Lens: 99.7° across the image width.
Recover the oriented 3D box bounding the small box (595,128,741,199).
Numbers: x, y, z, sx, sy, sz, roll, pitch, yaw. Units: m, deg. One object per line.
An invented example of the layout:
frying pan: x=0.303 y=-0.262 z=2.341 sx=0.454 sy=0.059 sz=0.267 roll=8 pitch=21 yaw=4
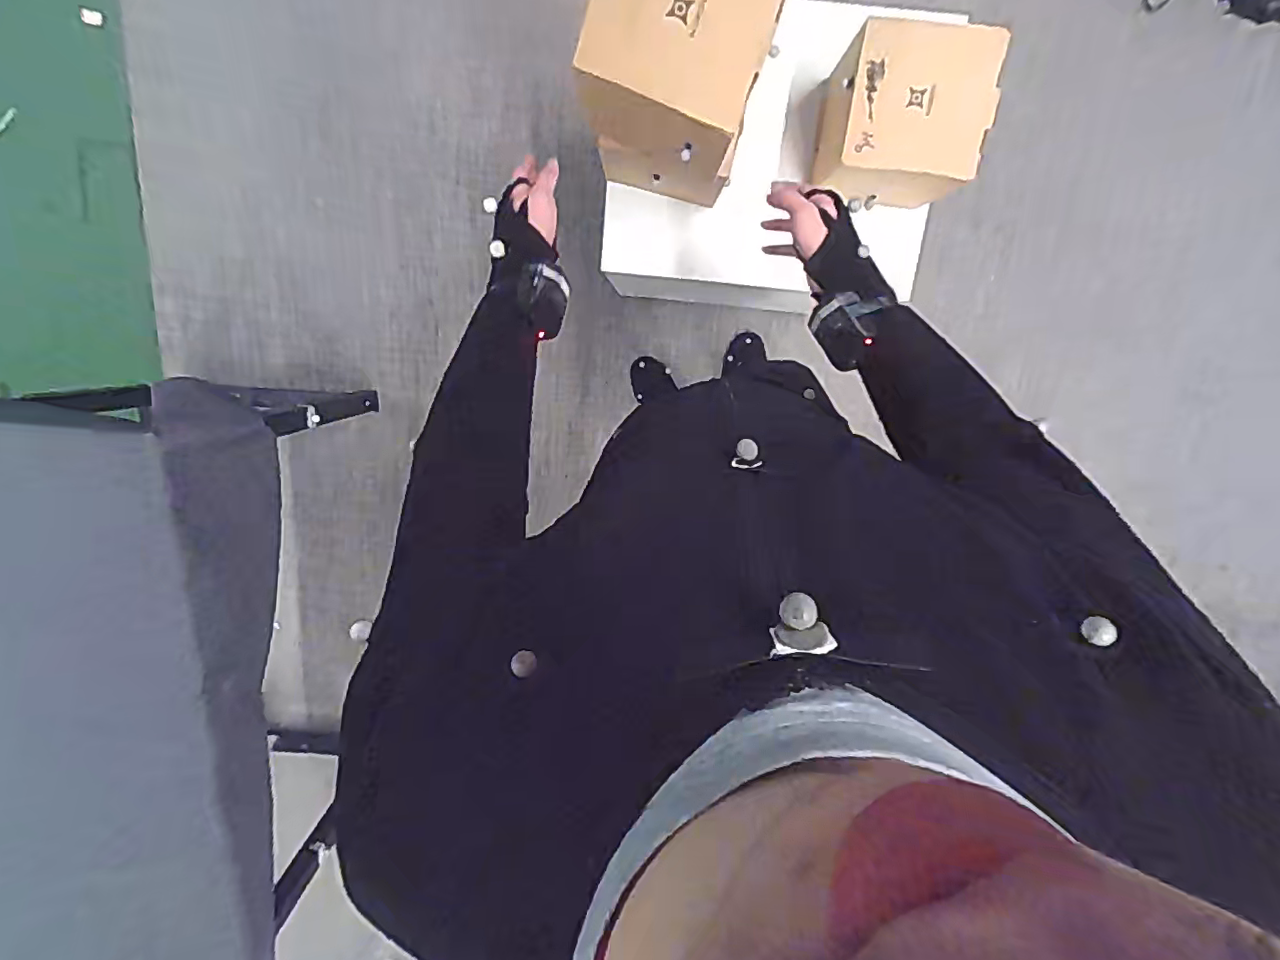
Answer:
small box: x=0.046 y=-0.502 z=0.732 sx=0.179 sy=0.176 sz=0.168 roll=13 pitch=104 yaw=-4

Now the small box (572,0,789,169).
small box: x=0.043 y=-0.462 z=0.575 sx=0.179 sy=0.176 sz=0.168 roll=19 pitch=102 yaw=-5

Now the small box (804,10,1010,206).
small box: x=0.346 y=-0.488 z=0.739 sx=0.179 sy=0.176 sz=0.168 roll=7 pitch=105 yaw=-2
